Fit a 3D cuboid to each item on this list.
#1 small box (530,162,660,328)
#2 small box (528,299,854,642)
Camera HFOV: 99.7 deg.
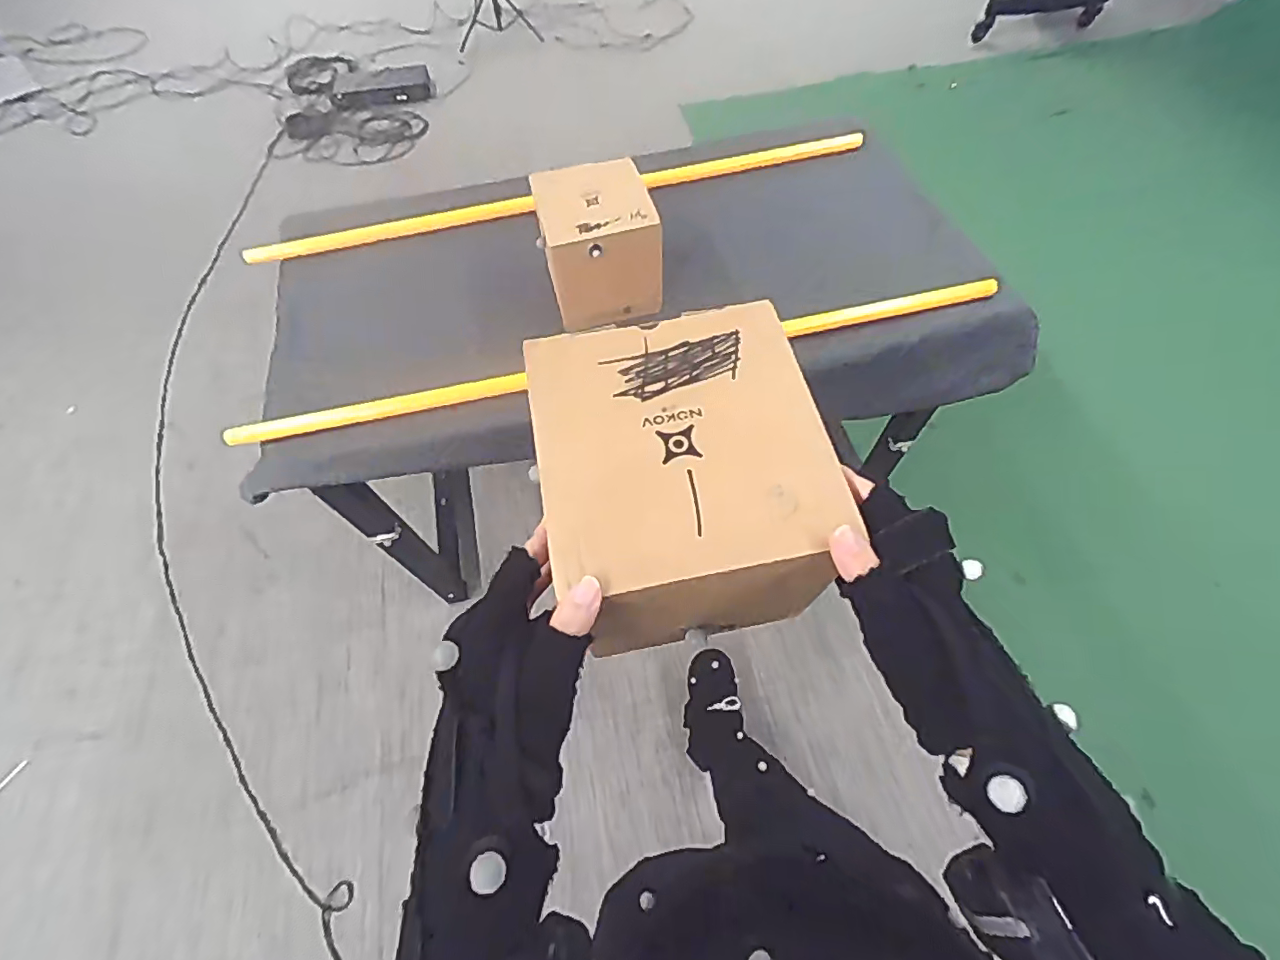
[{"bbox_3d":[-0.068,-0.371,0.871,0.168,0.176,0.179,-15,60,-5],"label":"small box"},{"bbox_3d":[0.022,0.003,0.391,0.168,0.176,0.179,-11,64,-2],"label":"small box"}]
